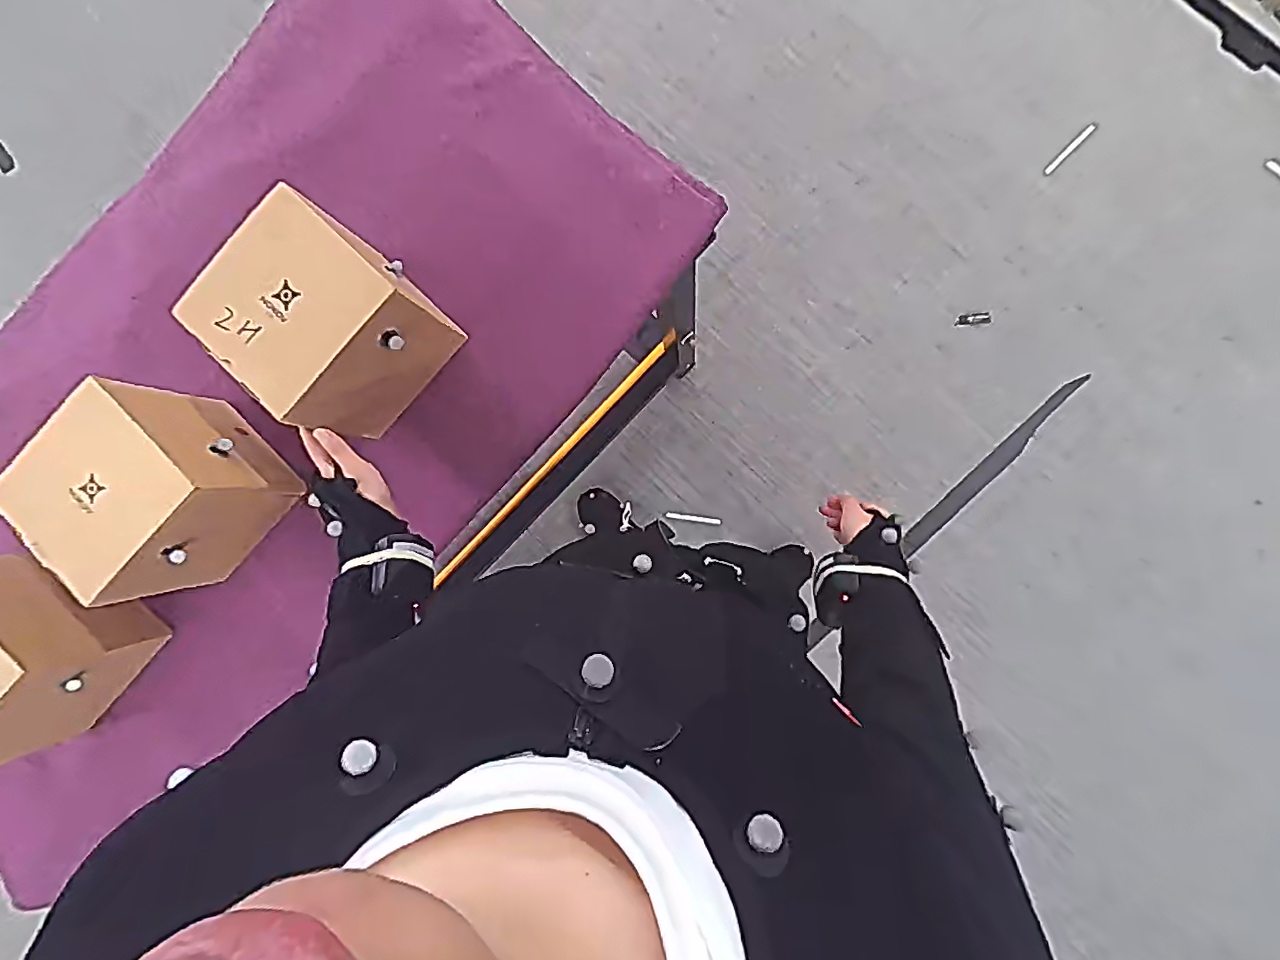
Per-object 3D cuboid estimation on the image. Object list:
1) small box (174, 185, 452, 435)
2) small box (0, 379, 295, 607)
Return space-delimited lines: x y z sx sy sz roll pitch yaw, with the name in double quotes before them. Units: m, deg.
"small box" -0.339 -0.171 0.604 0.168 0.176 0.179 44 93 6
"small box" -0.547 0.013 0.625 0.168 0.176 0.179 44 94 4
